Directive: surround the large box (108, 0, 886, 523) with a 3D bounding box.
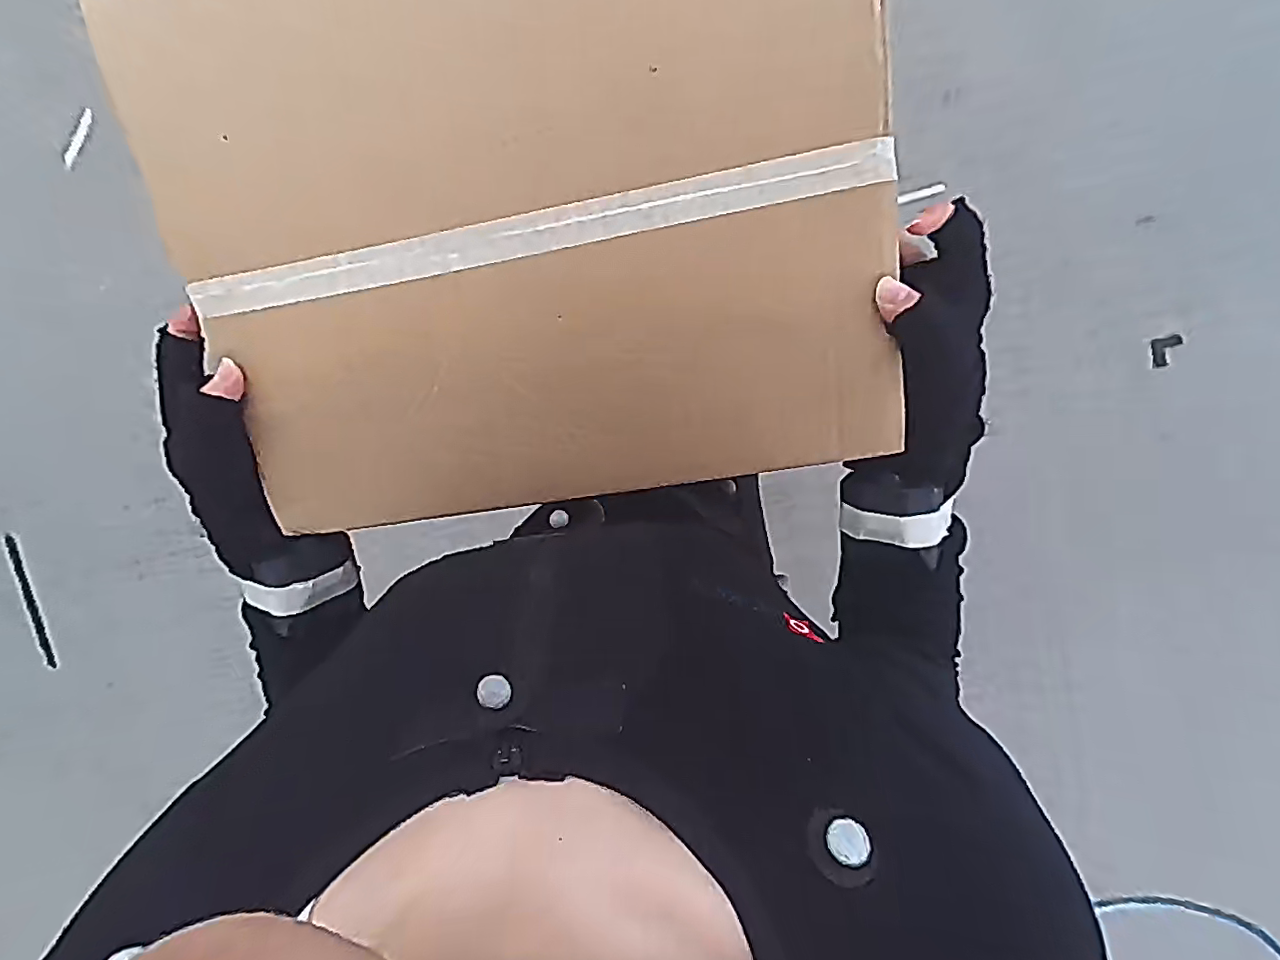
[{"bbox_3d":[-0.058,-0.188,0.452,0.408,0.320,0.320,-8,106,7],"label":"large box"}]
